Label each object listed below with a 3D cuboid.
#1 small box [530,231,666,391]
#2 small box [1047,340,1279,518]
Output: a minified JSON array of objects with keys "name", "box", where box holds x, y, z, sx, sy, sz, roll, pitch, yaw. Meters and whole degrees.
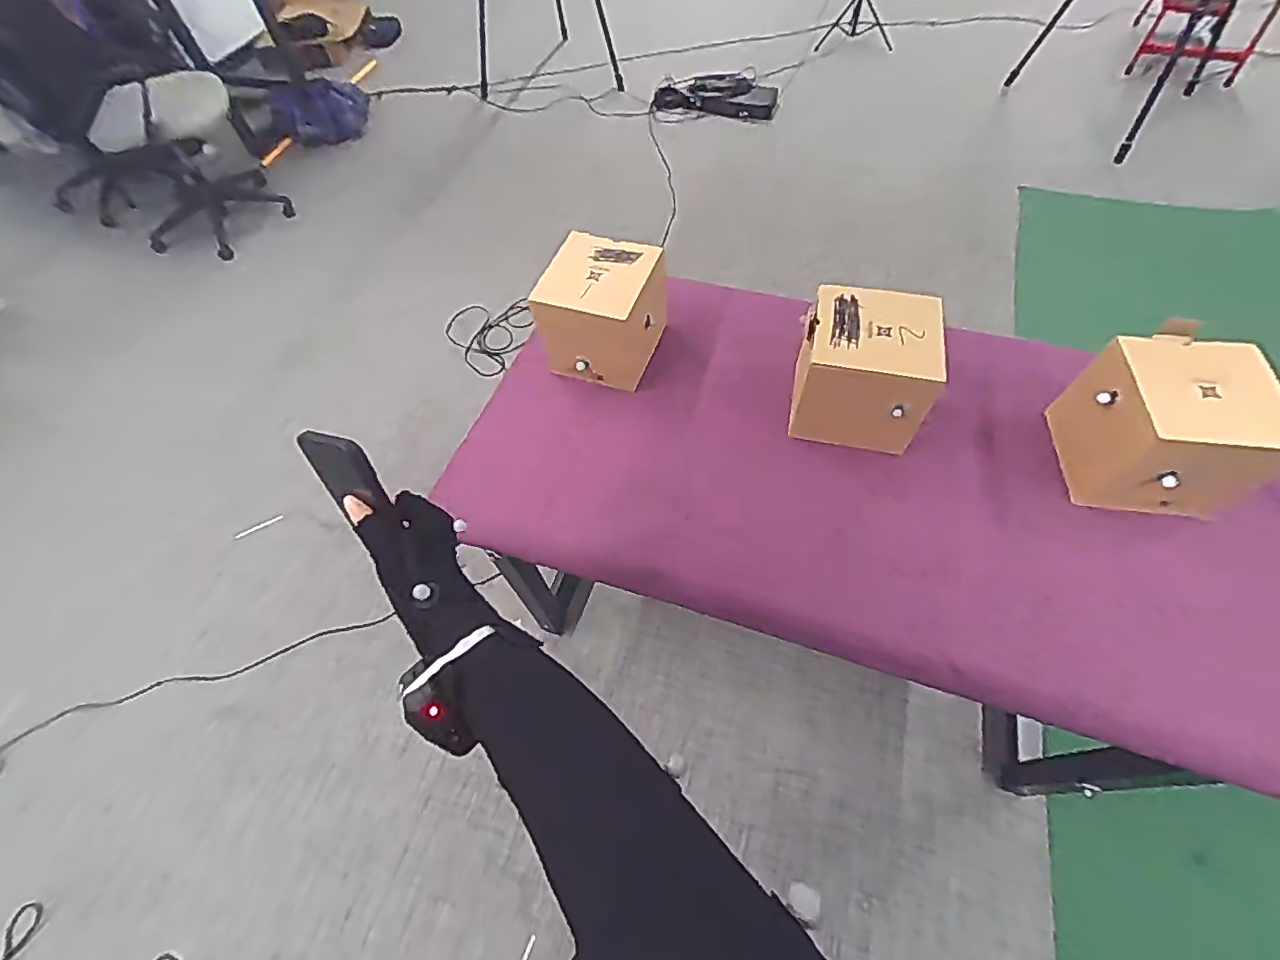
[{"name":"small box","box":[-0.062,-0.282,0.914,0.168,0.176,0.179,16,62,13]},{"name":"small box","box":[0.702,-0.065,0.735,0.168,0.176,0.179,6,58,8]}]
